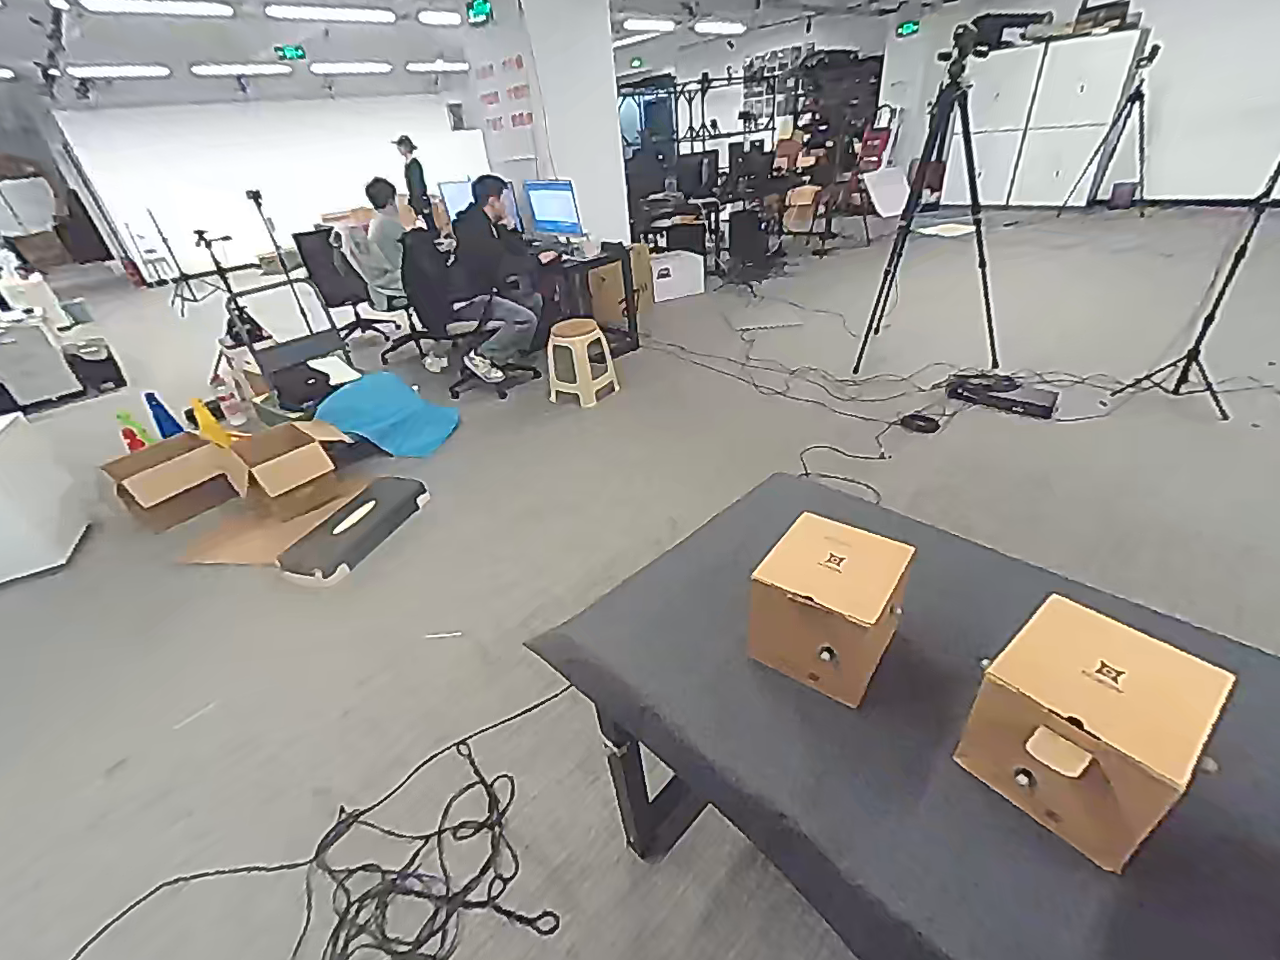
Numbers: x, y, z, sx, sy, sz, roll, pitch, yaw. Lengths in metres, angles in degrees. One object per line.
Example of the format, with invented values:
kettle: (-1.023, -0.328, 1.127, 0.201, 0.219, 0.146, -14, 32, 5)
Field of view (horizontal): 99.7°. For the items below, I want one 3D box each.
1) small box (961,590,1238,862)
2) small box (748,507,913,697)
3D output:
small box: (0.490, 0.262, 0.598, 0.179, 0.176, 0.168, -27, 38, -29)
small box: (0.268, 0.171, 0.777, 0.168, 0.176, 0.179, 20, 40, 33)
